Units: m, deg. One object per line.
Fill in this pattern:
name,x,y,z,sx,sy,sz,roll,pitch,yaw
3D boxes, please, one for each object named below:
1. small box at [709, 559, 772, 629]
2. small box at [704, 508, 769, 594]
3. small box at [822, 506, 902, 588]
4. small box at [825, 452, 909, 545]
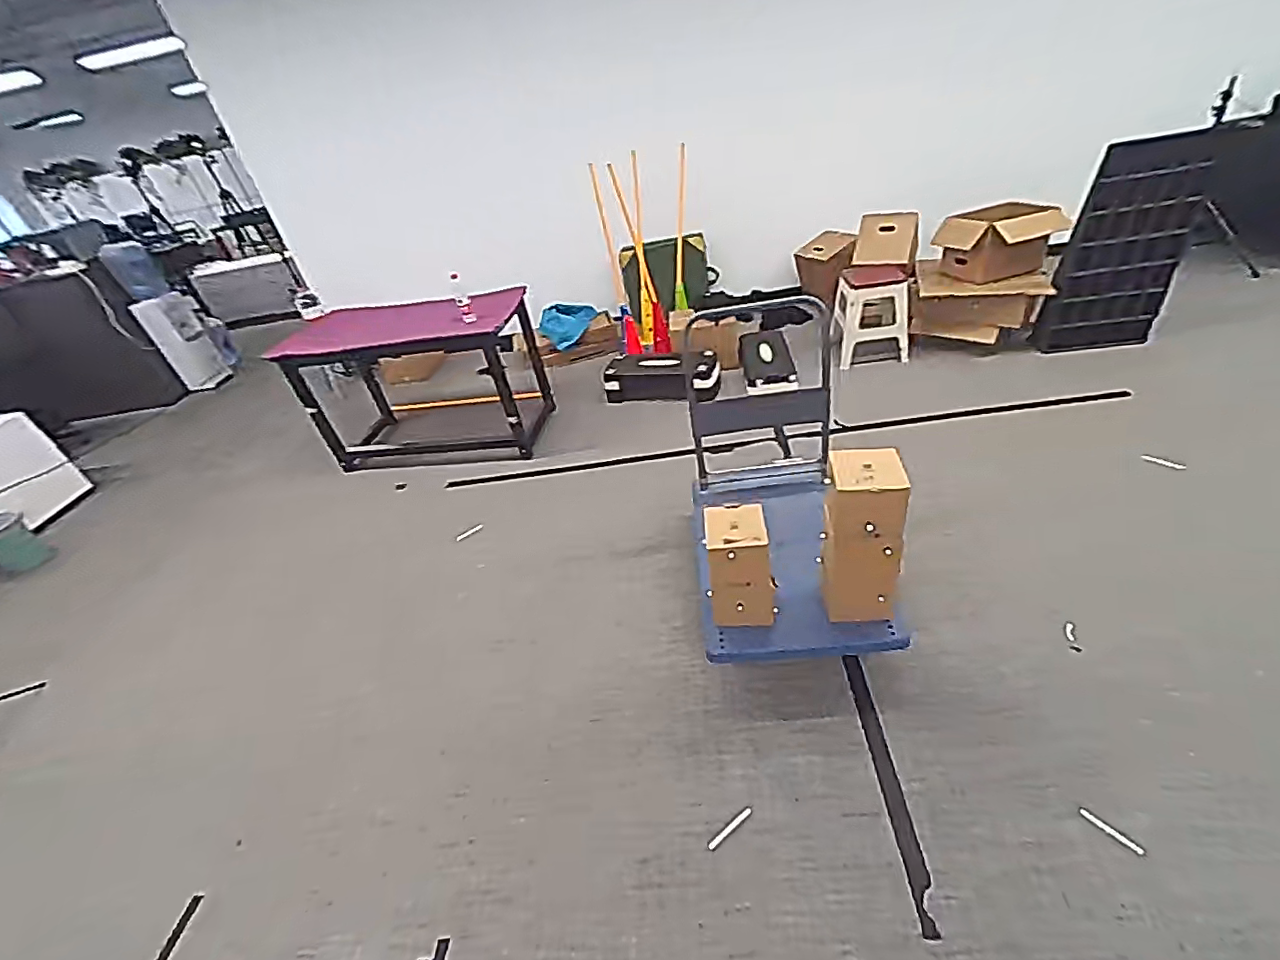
small box,0.305,0.333,1.633,0.179,0.176,0.168,-5,36,11
small box,0.273,0.201,1.539,0.168,0.176,0.179,-6,35,8
small box,0.598,0.180,1.479,0.179,0.176,0.168,-3,36,11
small box,0.572,0.046,1.386,0.168,0.176,0.179,-2,36,12
